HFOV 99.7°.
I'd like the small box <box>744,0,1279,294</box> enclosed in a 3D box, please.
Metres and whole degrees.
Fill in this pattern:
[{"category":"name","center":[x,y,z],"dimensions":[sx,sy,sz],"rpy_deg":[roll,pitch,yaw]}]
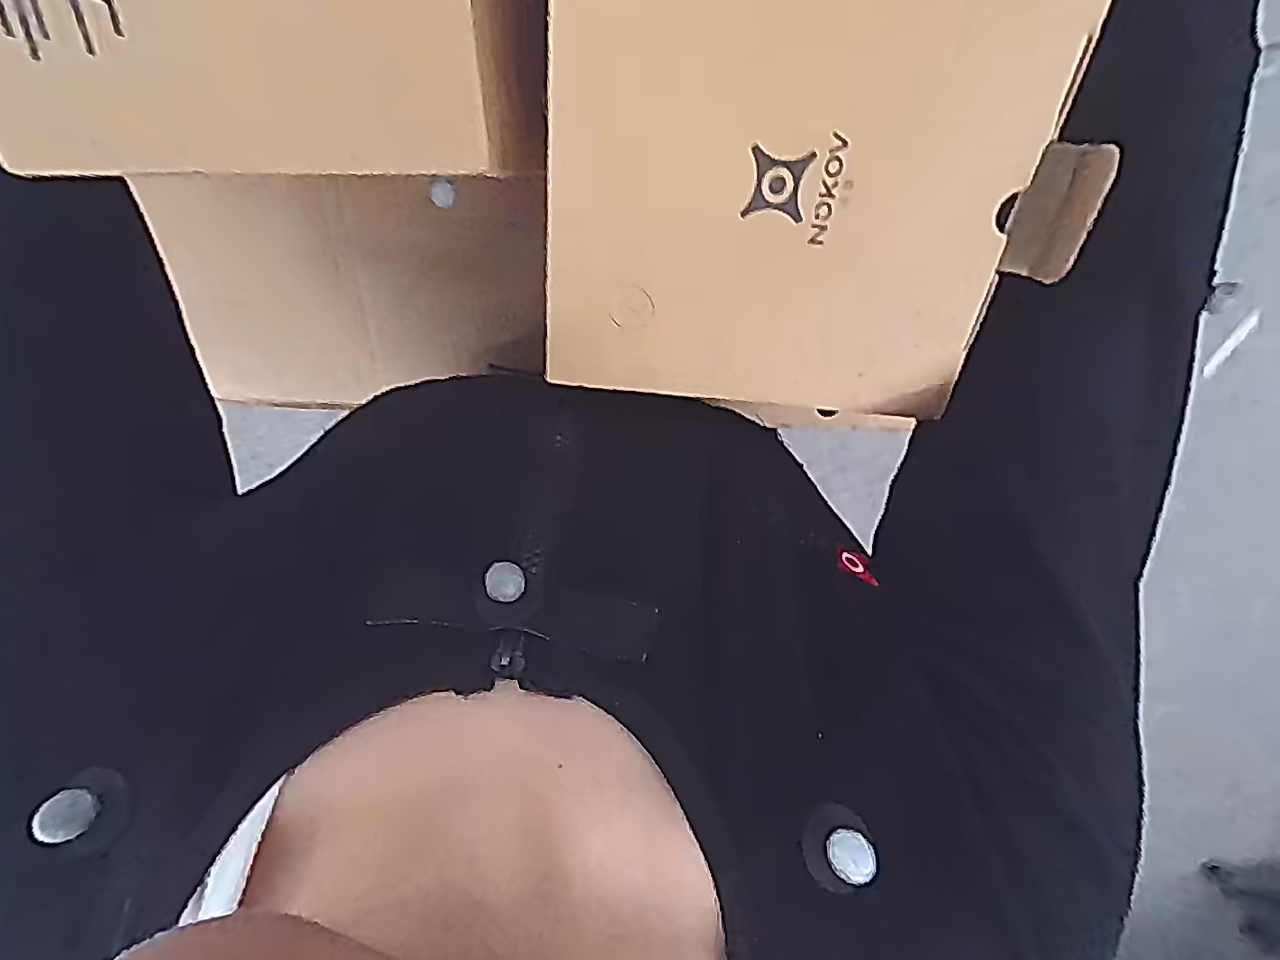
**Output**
[{"category":"small box","center":[0.161,-0.198,0.217],"dimensions":[0.179,0.176,0.168],"rpy_deg":[16,126,-10]}]
